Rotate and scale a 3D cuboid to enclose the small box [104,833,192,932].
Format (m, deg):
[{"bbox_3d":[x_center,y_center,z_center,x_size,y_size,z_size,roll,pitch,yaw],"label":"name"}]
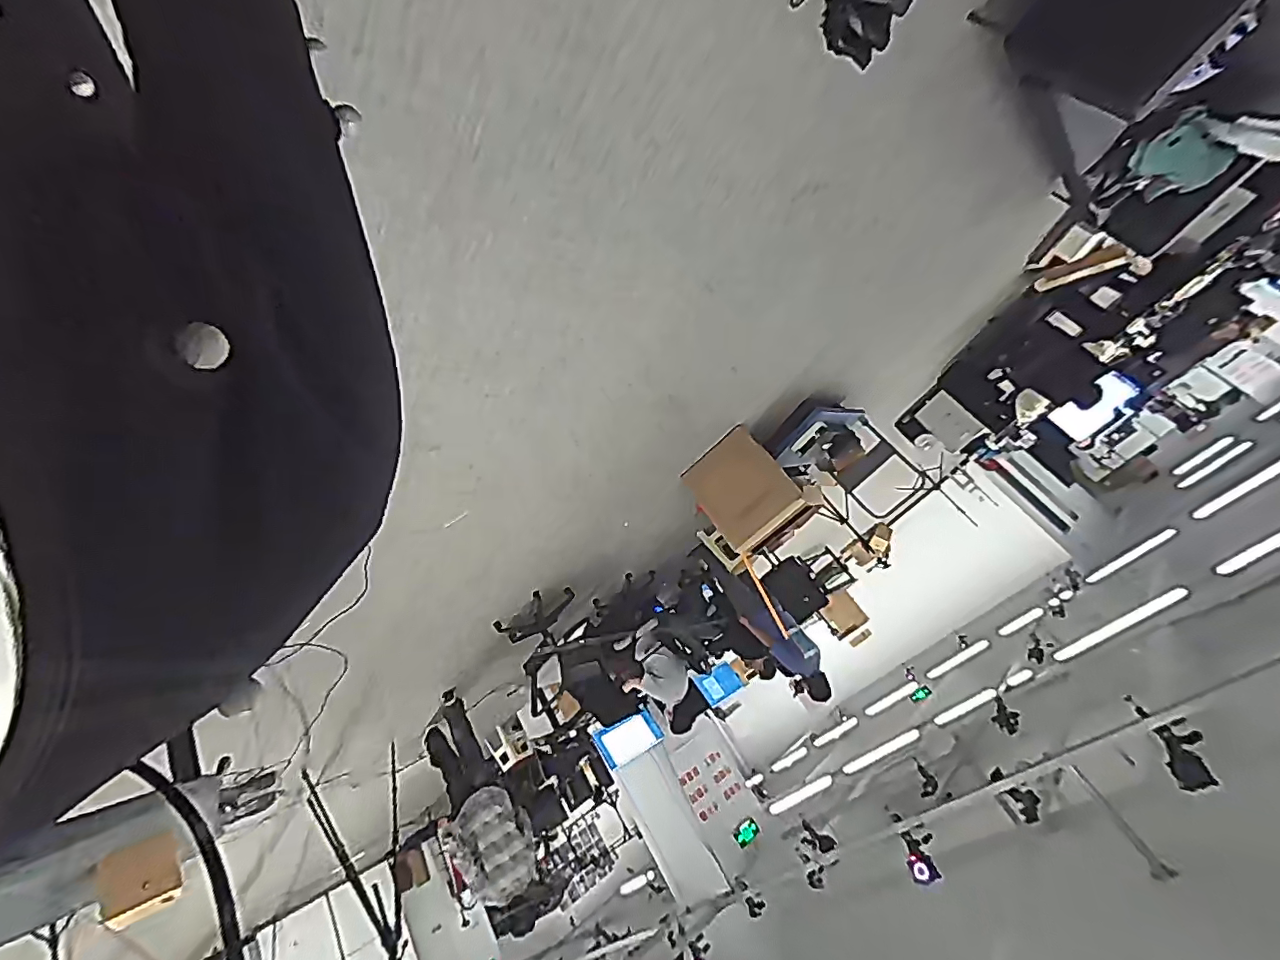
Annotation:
[{"bbox_3d":[-1.490,1.216,1.643,0.179,0.176,0.168,-9,144,-42],"label":"small box"}]
